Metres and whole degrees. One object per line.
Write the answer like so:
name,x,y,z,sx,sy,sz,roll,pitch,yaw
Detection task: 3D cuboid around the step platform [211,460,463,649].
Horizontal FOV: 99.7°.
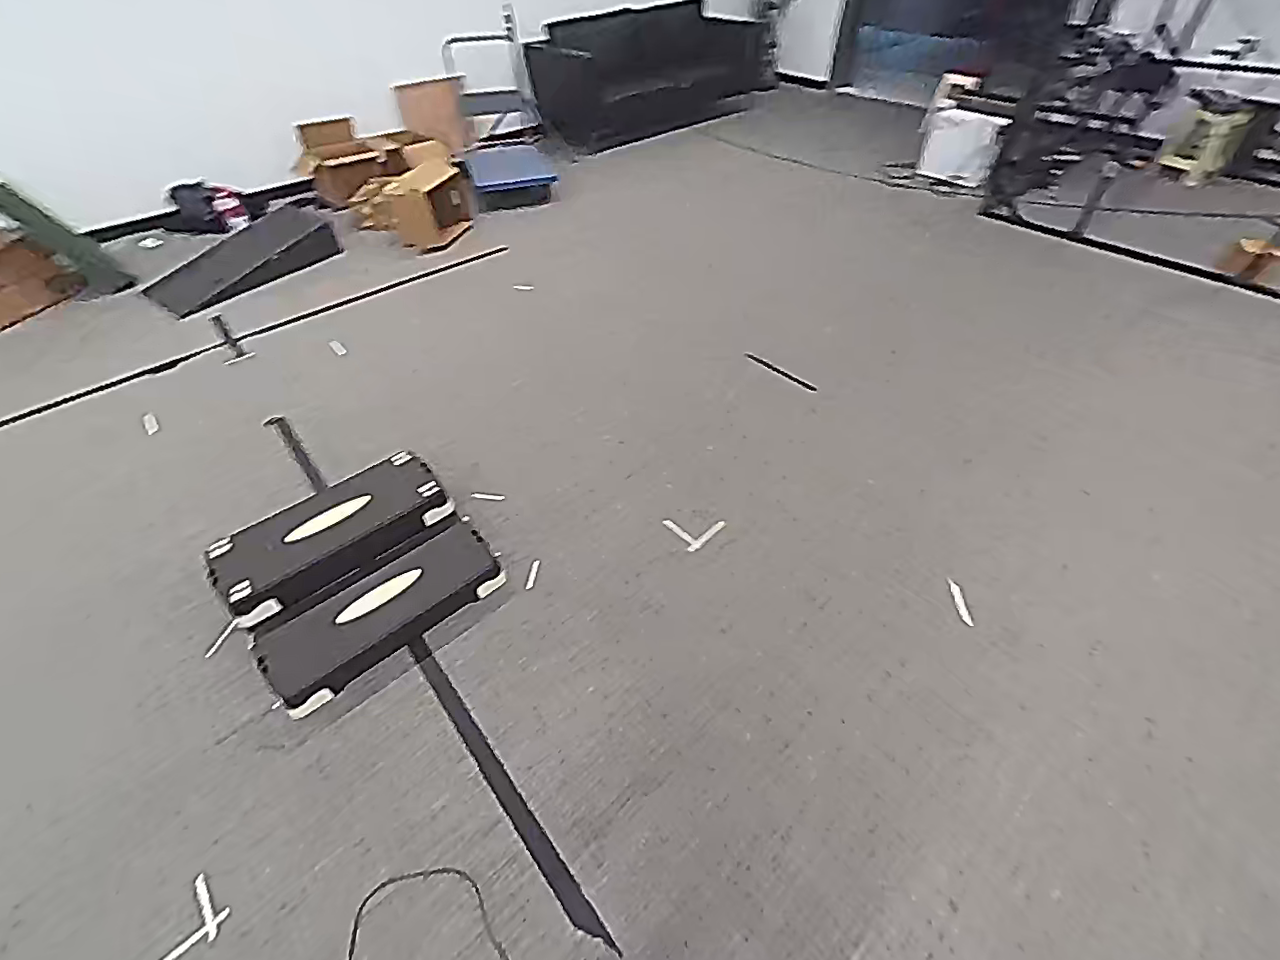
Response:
step platform,-0.932,0.209,1.708,0.684,0.204,0.286,-33,54,-28
